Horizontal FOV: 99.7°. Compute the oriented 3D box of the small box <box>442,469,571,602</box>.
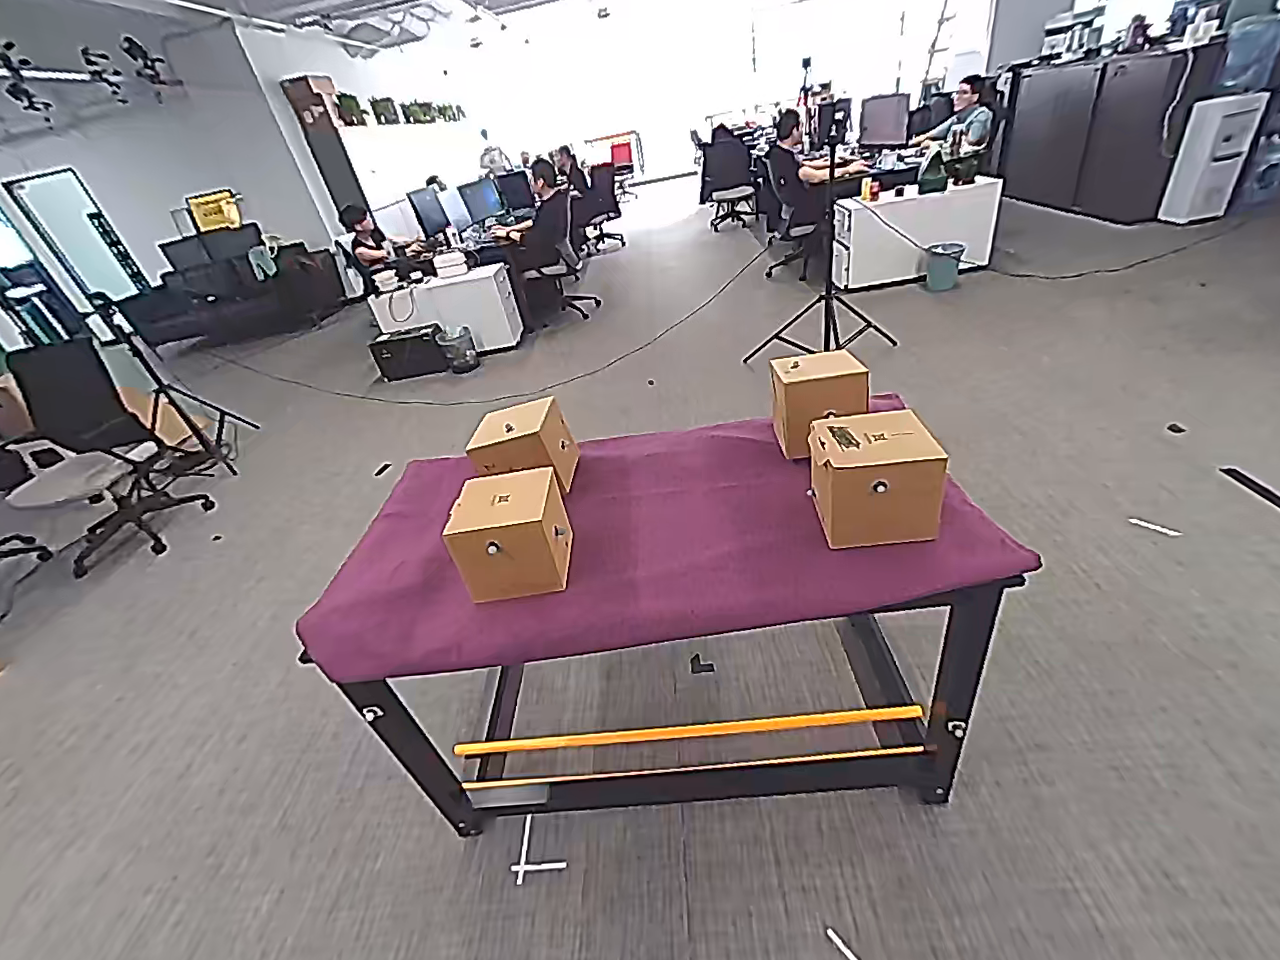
[{"bbox_3d":[-0.233,0.103,1.001,0.179,0.176,0.168,-9,33,5],"label":"small box"}]

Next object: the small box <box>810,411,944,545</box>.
[{"bbox_3d":[0.403,-0.001,0.947,0.179,0.176,0.168,-7,33,8],"label":"small box"}]

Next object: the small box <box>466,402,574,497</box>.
[{"bbox_3d":[-0.258,-0.058,1.223,0.179,0.168,0.176,-13,32,12],"label":"small box"}]
